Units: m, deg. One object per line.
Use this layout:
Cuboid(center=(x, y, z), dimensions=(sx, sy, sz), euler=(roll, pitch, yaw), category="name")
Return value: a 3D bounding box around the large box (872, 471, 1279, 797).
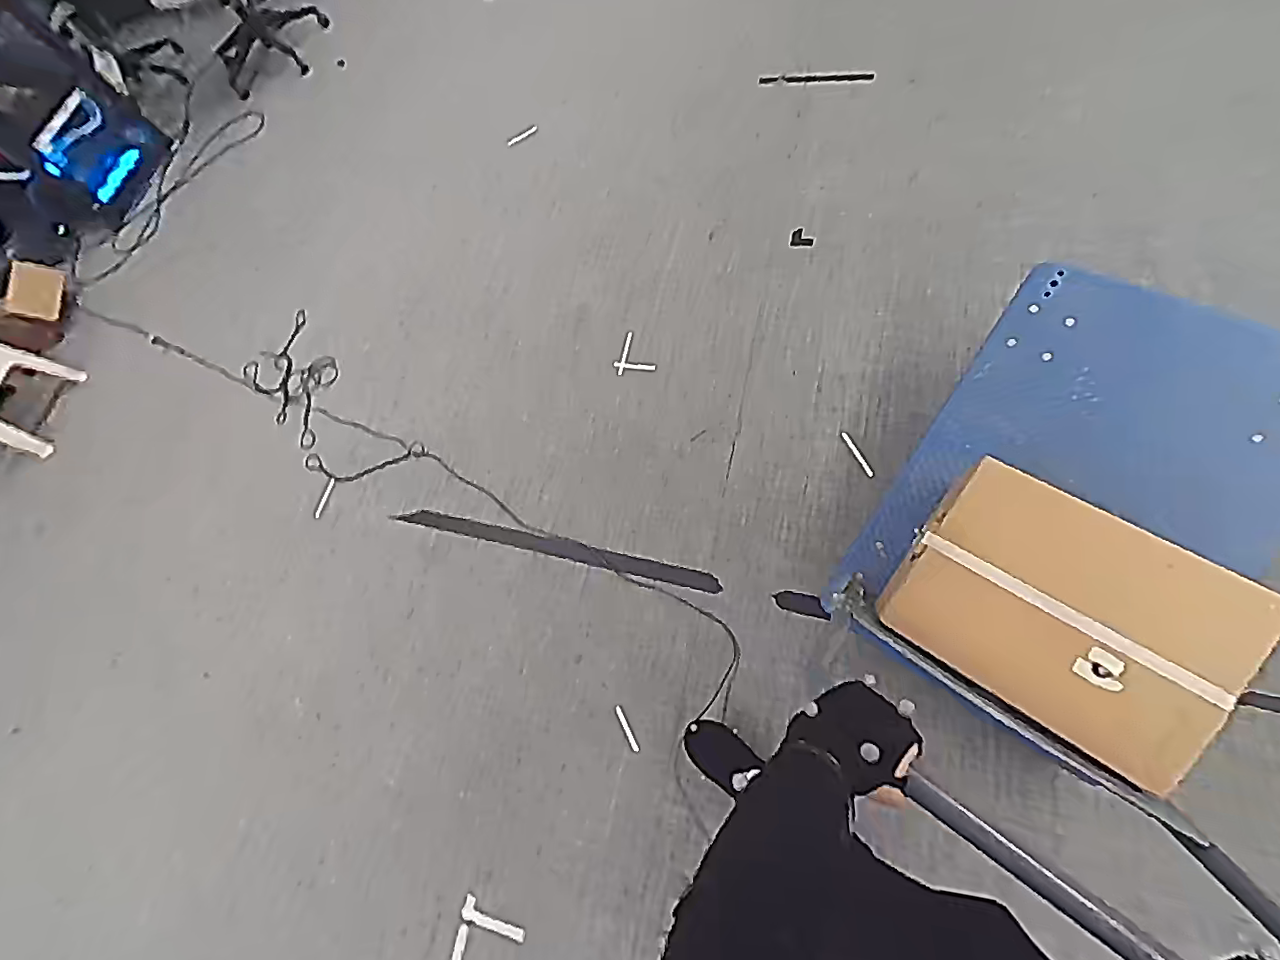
Cuboid(center=(0.671, 0.229, 0.934), dimensions=(0.408, 0.320, 0.320), euler=(33, 95, 22), category="large box")
